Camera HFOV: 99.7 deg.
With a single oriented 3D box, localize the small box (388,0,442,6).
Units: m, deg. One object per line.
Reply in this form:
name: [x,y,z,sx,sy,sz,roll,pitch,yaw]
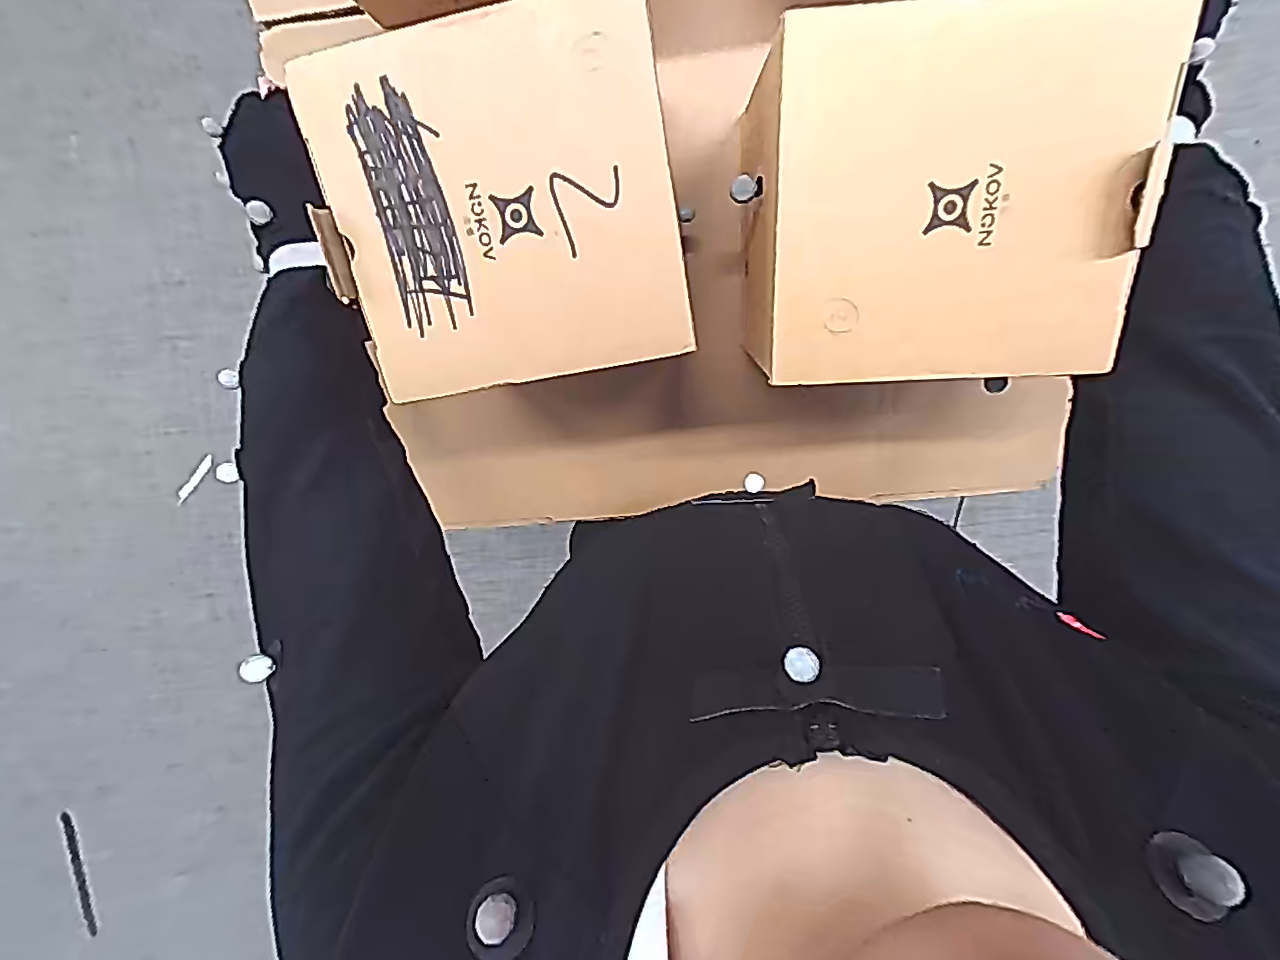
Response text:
small box: [-0.121,-0.386,0.274,0.168,0.176,0.179,-5,107,6]
